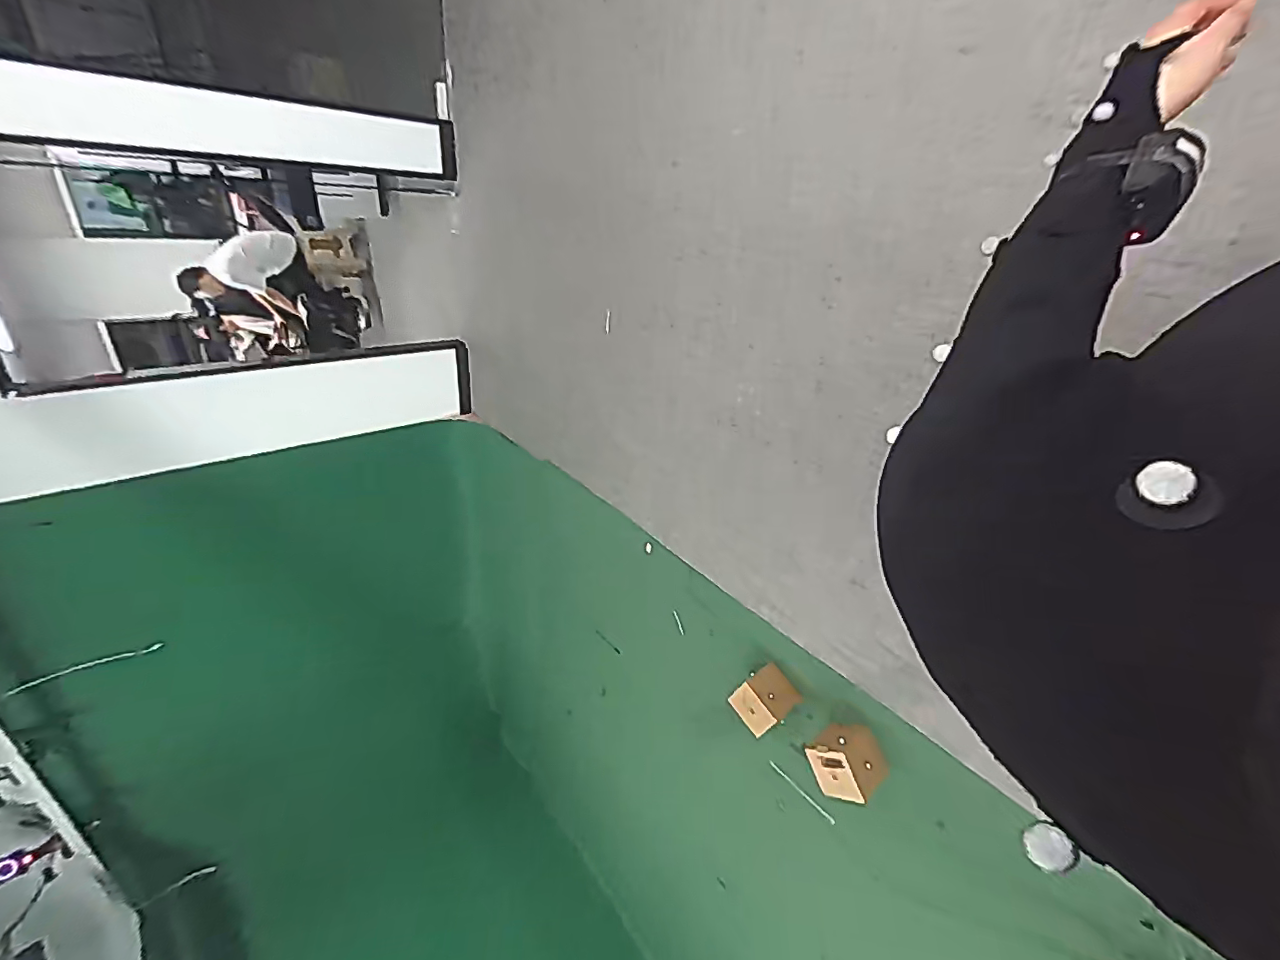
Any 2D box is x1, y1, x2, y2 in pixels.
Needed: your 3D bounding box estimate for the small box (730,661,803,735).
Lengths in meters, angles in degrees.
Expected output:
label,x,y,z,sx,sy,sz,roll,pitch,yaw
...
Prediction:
label,x,y,z,sx,sy,sz,roll,pitch,yaw
small box,0.489,0.832,2.075,0.179,0.176,0.168,50,137,26
